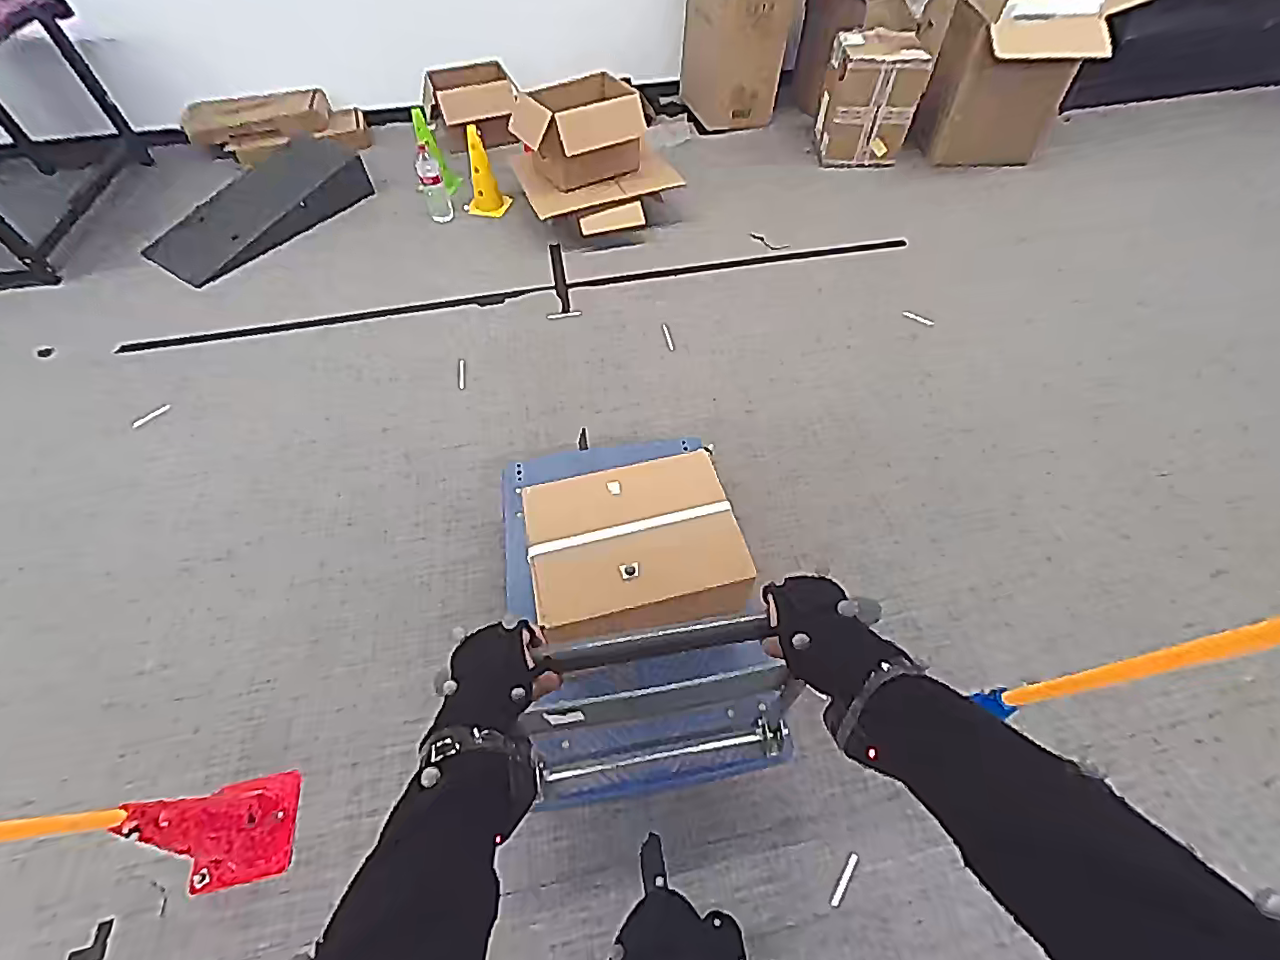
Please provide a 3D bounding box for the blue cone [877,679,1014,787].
[{"bbox_3d":[0.677,0.504,1.138,0.193,0.380,0.192,-12,54,-8],"label":"blue cone"}]
